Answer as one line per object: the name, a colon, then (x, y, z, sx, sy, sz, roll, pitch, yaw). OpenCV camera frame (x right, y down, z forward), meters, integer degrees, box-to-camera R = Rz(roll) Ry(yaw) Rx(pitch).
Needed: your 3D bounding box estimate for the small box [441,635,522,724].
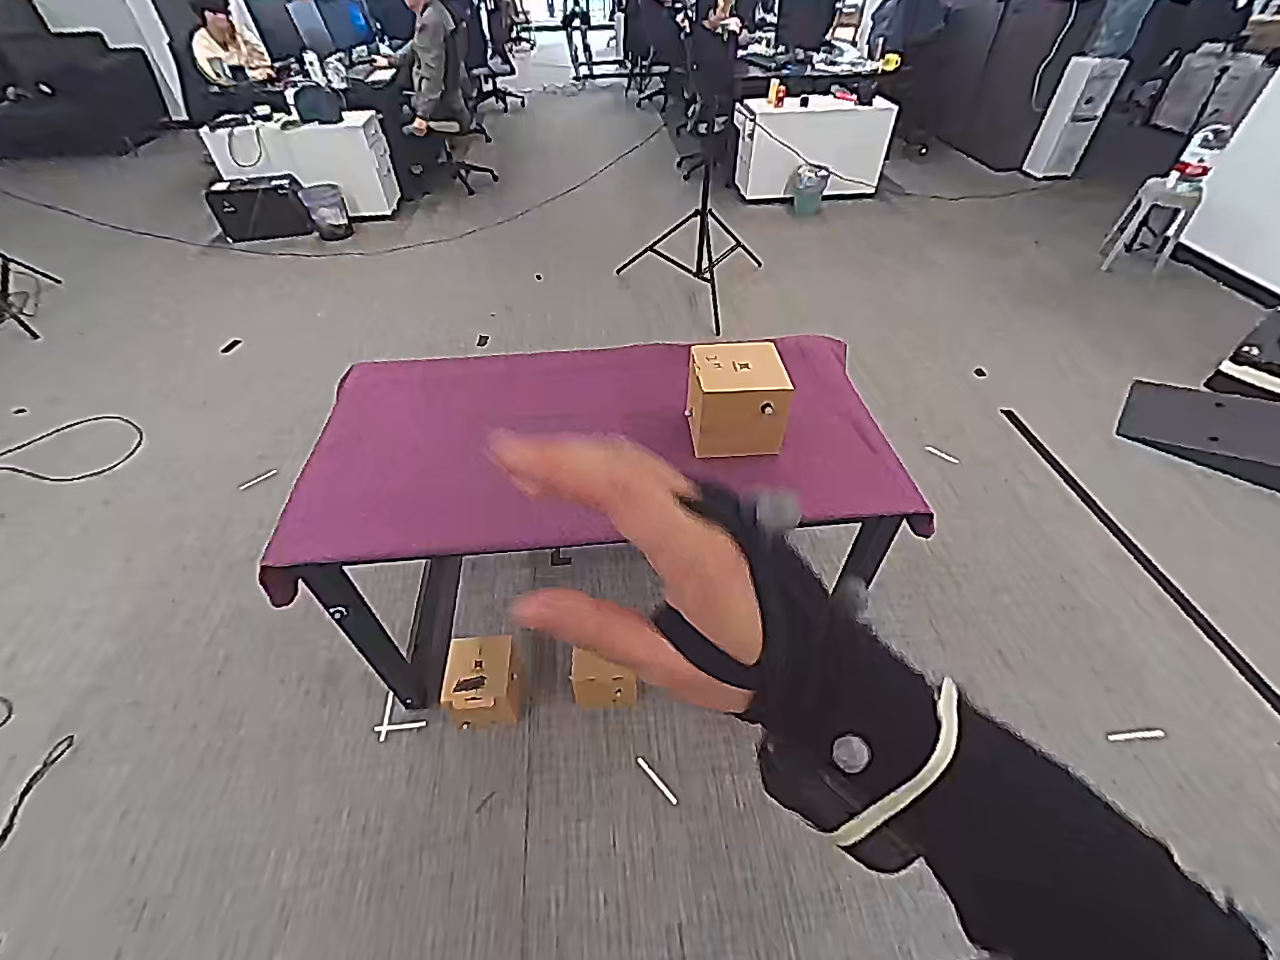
small box: (-0.417, 0.541, 1.455, 0.168, 0.176, 0.179, -4, 45, -3)

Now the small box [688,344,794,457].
small box: (0.198, -0.162, 1.117, 0.179, 0.176, 0.168, -3, 45, -2)

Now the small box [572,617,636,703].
small box: (-0.097, 0.502, 1.493, 0.168, 0.176, 0.179, -3, 45, -3)

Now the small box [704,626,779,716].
small box: (0.275, 0.523, 1.469, 0.179, 0.176, 0.168, 7, 47, 9)
